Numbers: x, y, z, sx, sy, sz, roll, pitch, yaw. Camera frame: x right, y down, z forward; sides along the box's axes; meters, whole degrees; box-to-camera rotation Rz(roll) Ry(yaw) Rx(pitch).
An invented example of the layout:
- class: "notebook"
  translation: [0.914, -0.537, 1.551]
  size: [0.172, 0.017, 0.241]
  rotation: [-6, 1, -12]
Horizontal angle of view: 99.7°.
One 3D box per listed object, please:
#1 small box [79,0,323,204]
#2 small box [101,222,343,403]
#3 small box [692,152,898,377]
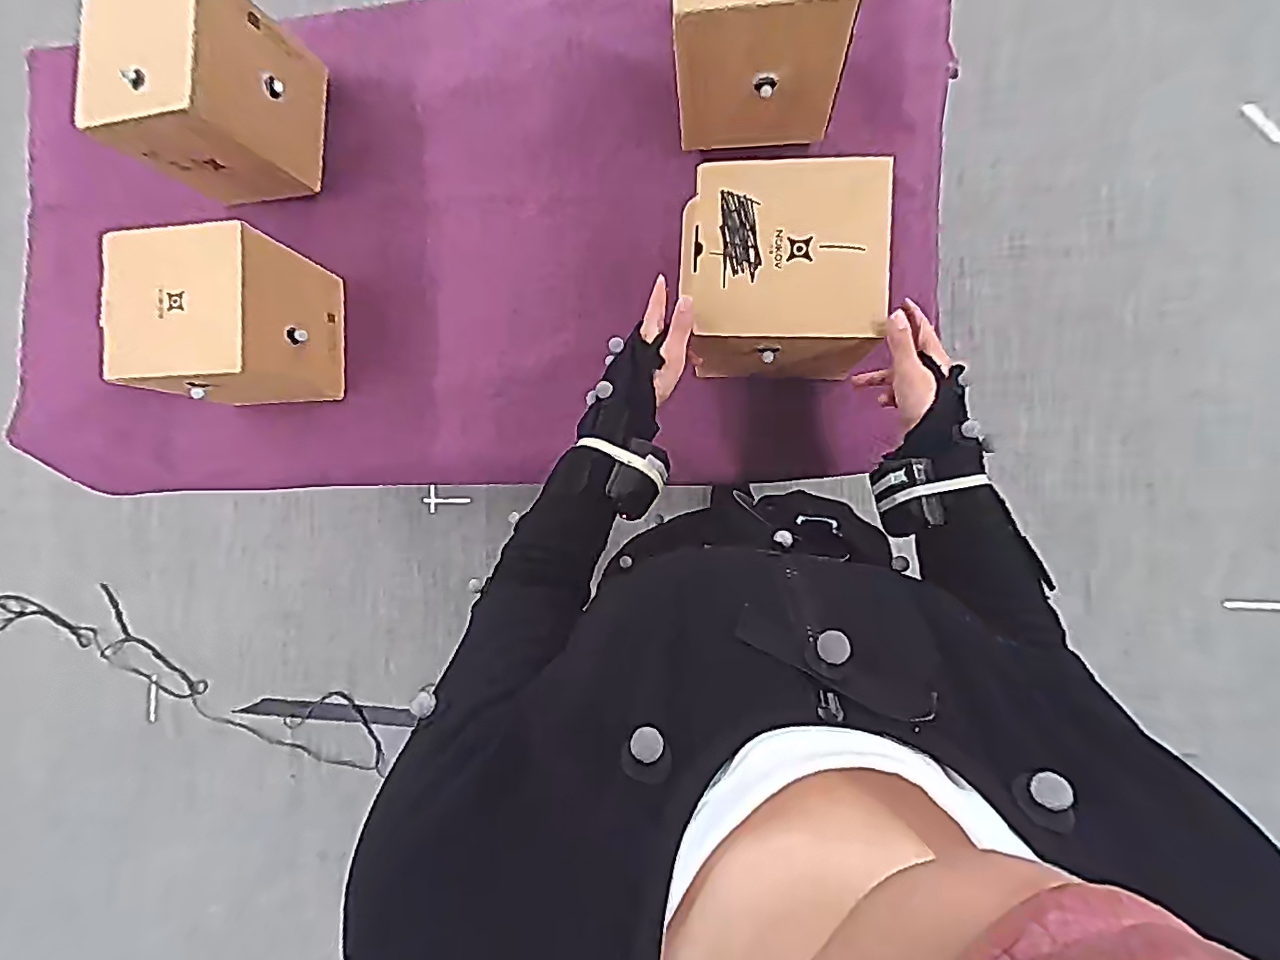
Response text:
- class: "small box"
  translation: [-0.517, -0.464, 0.653]
  size: [0.179, 0.168, 0.176]
  rotation: [3, 89, 15]
- class: "small box"
  translation: [-0.491, -0.189, 0.659]
  size: [0.179, 0.176, 0.168]
  rotation: [-2, 89, 8]
- class: "small box"
  translation: [0.149, -0.208, 0.565]
  size: [0.179, 0.176, 0.168]
  rotation: [3, 88, 8]
